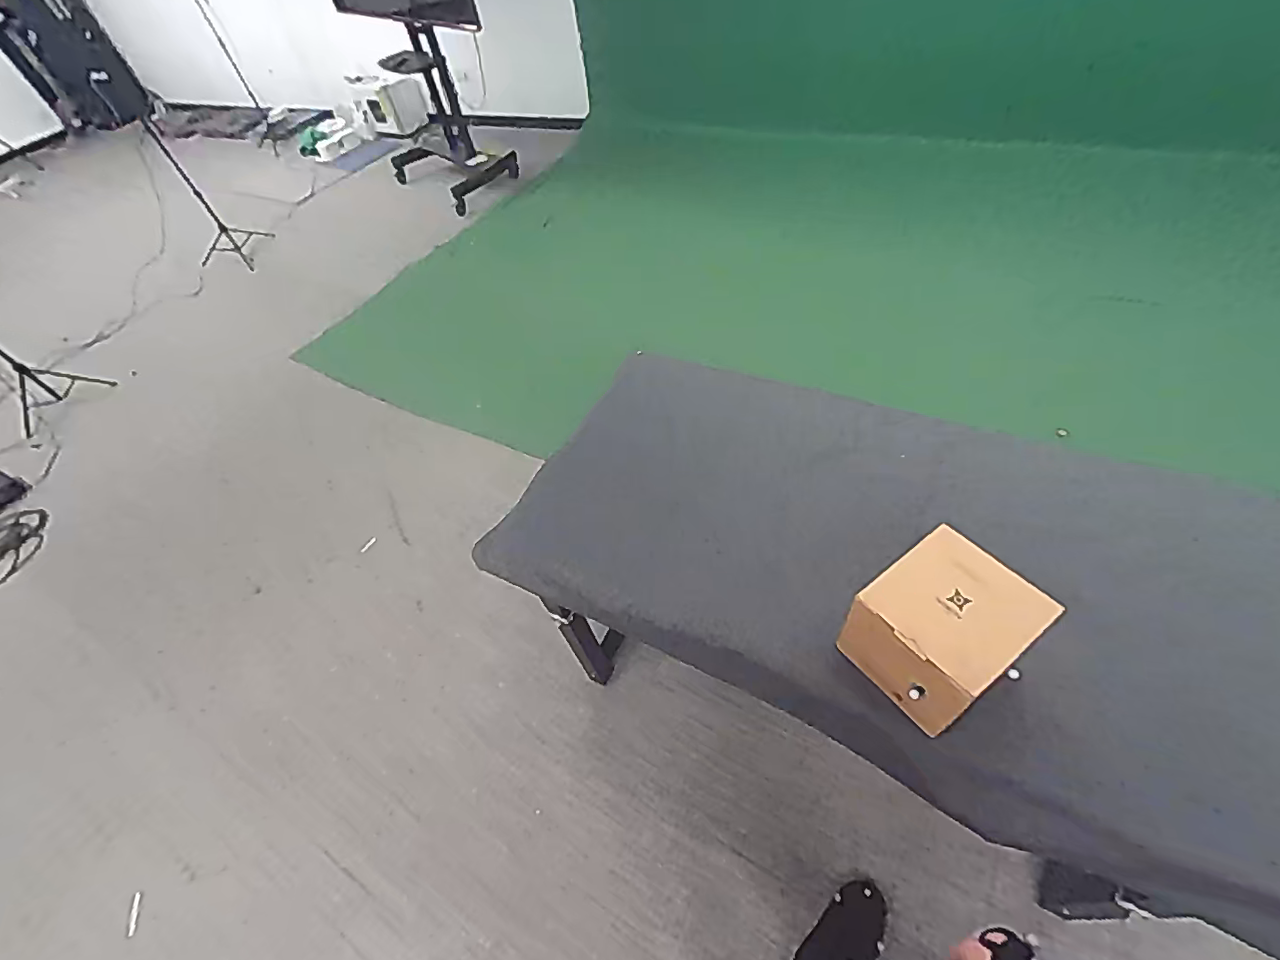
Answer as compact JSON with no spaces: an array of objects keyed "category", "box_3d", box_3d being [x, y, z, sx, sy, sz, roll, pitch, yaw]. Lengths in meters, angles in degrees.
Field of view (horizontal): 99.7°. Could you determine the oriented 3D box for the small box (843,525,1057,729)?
[{"category":"small box","box_3d":[0.398,0.202,0.731,0.179,0.176,0.168,-33,54,-18]}]
